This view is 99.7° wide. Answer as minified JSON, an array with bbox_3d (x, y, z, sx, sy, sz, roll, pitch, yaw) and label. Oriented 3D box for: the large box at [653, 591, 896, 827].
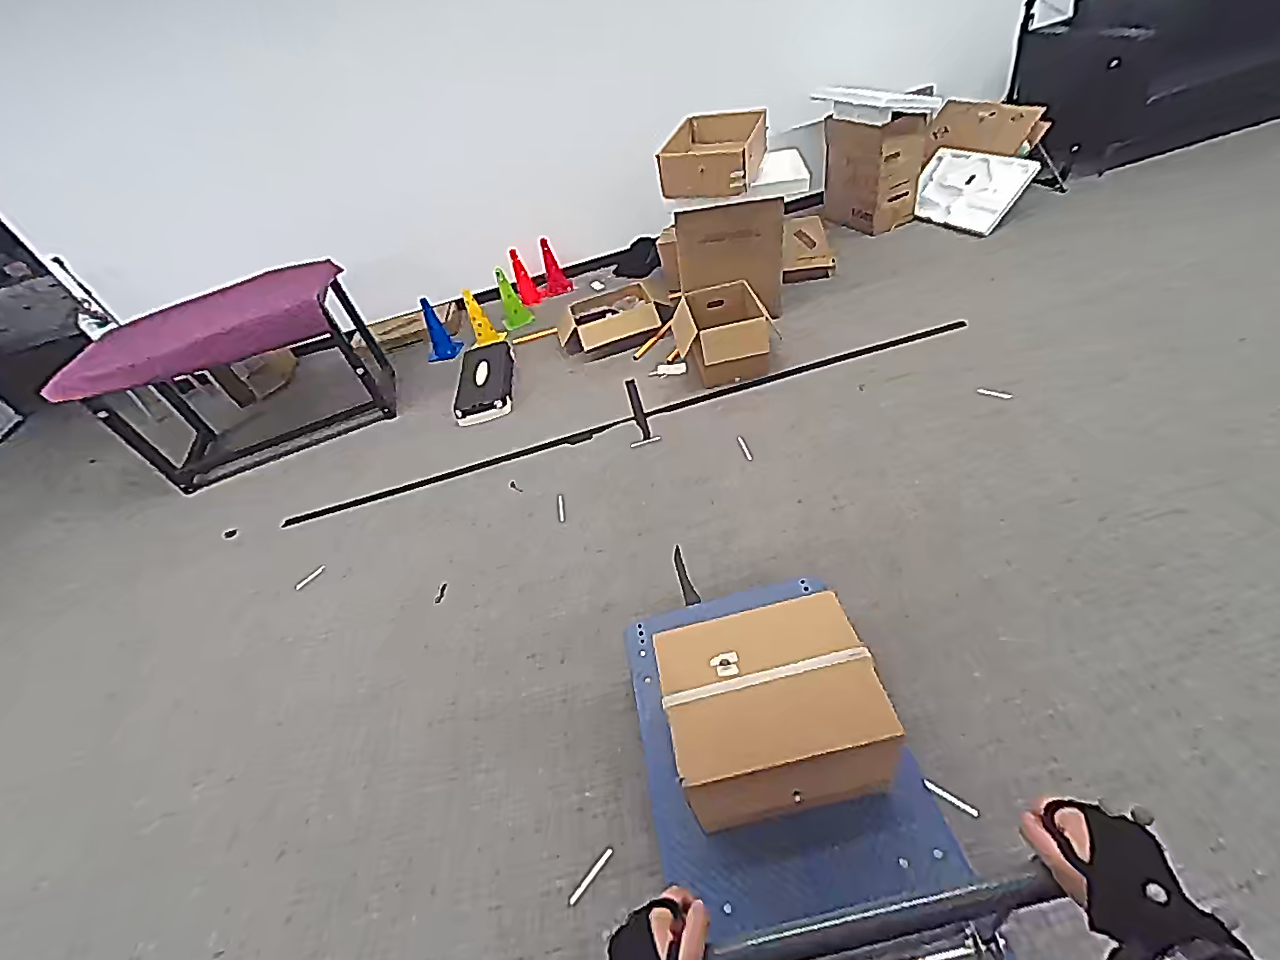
[{"bbox_3d":[0.276,0.498,1.172,0.408,0.320,0.320,-16,41,2],"label":"large box"}]
